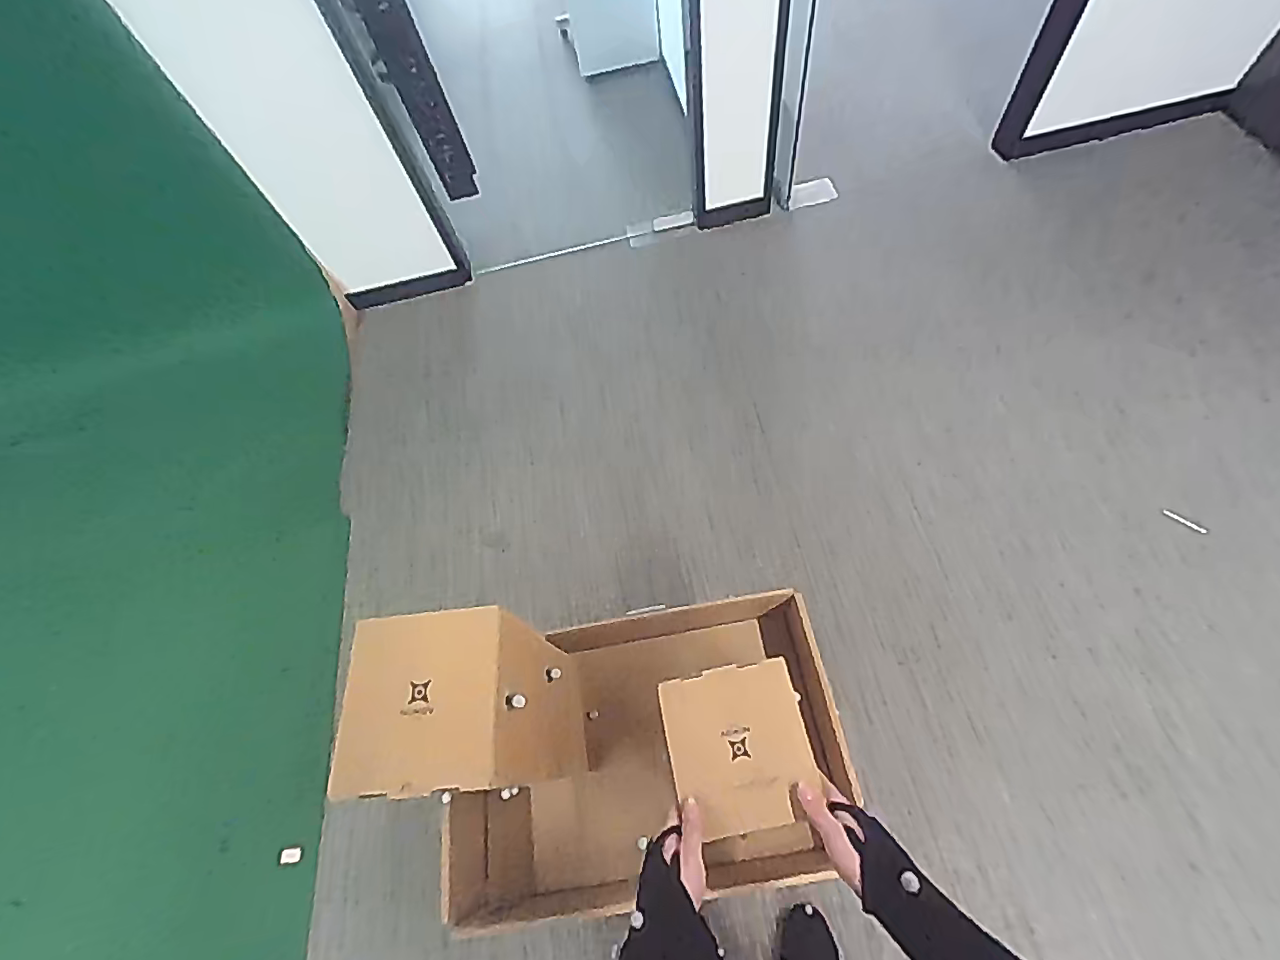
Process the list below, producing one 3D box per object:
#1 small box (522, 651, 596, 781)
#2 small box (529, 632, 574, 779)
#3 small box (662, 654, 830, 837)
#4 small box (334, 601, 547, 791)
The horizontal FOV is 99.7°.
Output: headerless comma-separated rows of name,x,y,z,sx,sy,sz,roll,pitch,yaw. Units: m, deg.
small box,-0.172,0.401,0.910,0.168,0.176,0.179,-9,62,3
small box,-0.193,0.327,0.766,0.168,0.176,0.179,-8,62,5
small box,0.128,0.346,0.708,0.168,0.176,0.179,-12,61,3
small box,-0.210,0.251,0.623,0.168,0.176,0.179,-7,63,5
